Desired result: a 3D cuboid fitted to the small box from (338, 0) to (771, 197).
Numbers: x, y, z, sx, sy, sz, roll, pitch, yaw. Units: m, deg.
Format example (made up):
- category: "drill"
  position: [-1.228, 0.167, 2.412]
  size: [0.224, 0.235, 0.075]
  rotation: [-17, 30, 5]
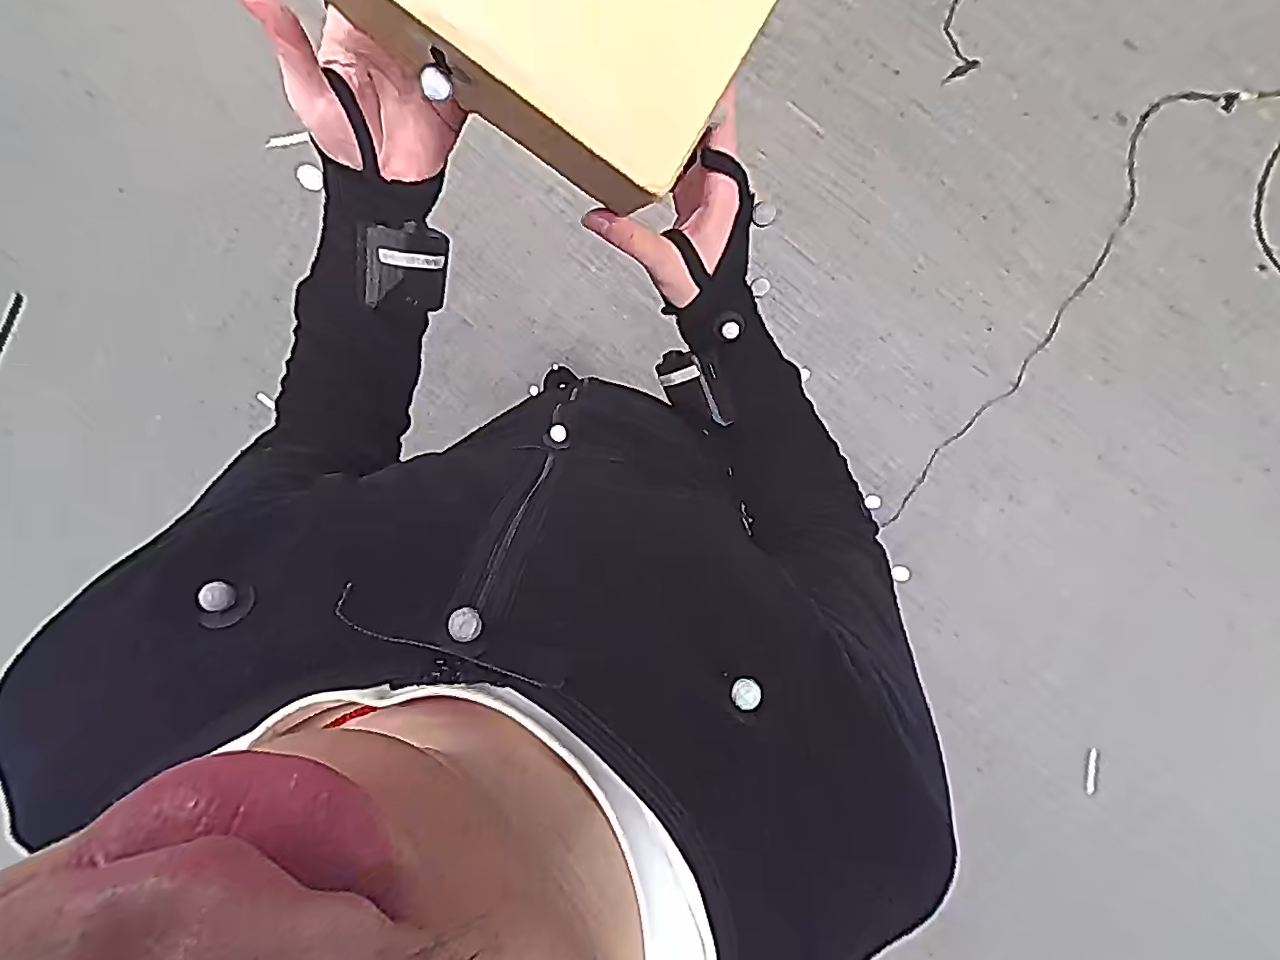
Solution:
- category: "small box"
  position: [-0.032, -0.244, 0.230]
  size: [0.179, 0.176, 0.168]
  rotation: [27, 108, -19]
